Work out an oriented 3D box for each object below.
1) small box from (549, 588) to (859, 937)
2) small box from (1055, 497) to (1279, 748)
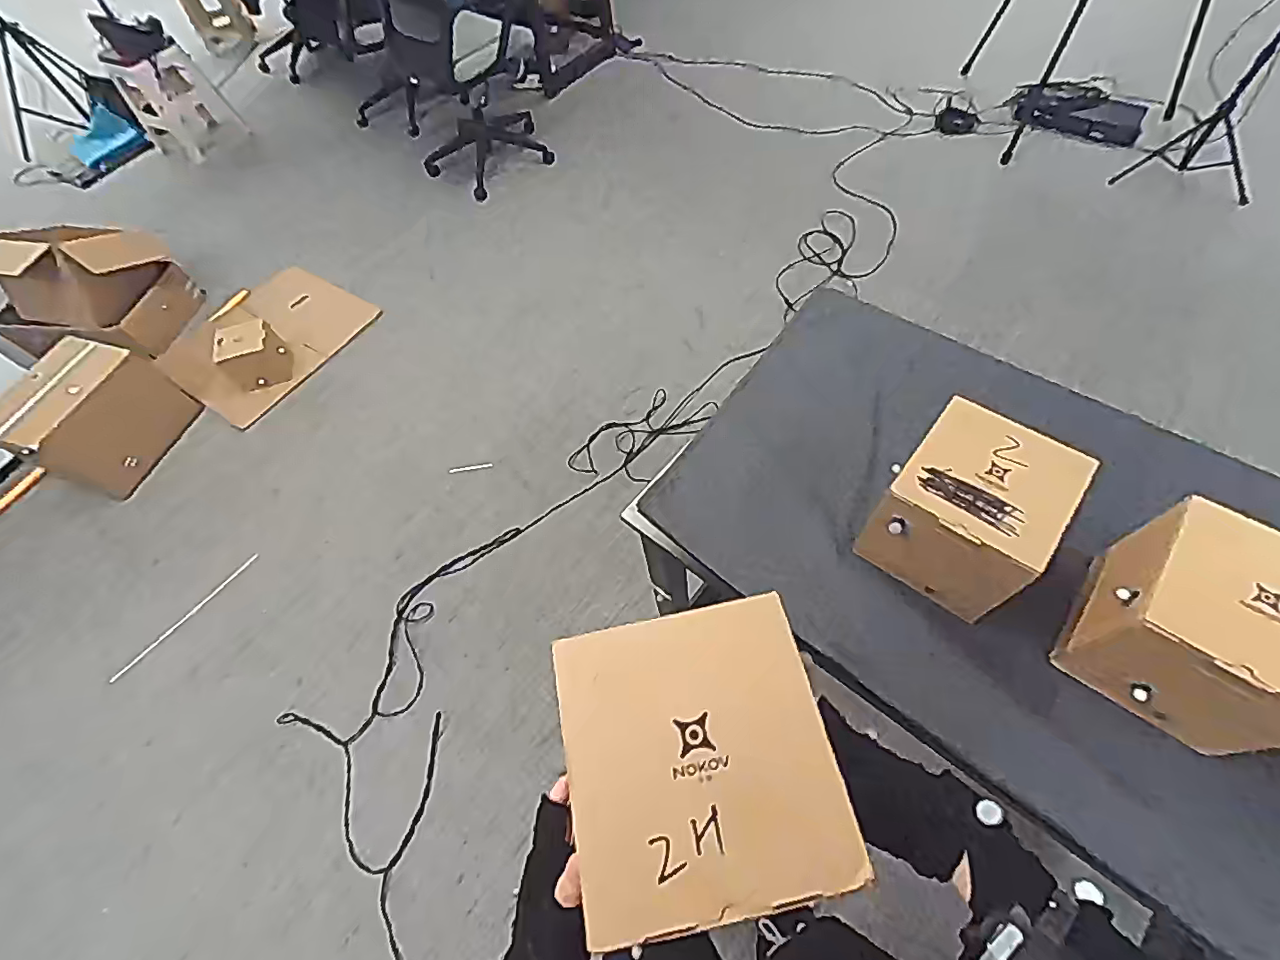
[{"bbox_3d":[0.035,0.206,0.412,0.168,0.176,0.179,-12,60,-2],"label":"small box"},{"bbox_3d":[0.599,0.157,0.583,0.168,0.176,0.179,33,68,23],"label":"small box"}]
